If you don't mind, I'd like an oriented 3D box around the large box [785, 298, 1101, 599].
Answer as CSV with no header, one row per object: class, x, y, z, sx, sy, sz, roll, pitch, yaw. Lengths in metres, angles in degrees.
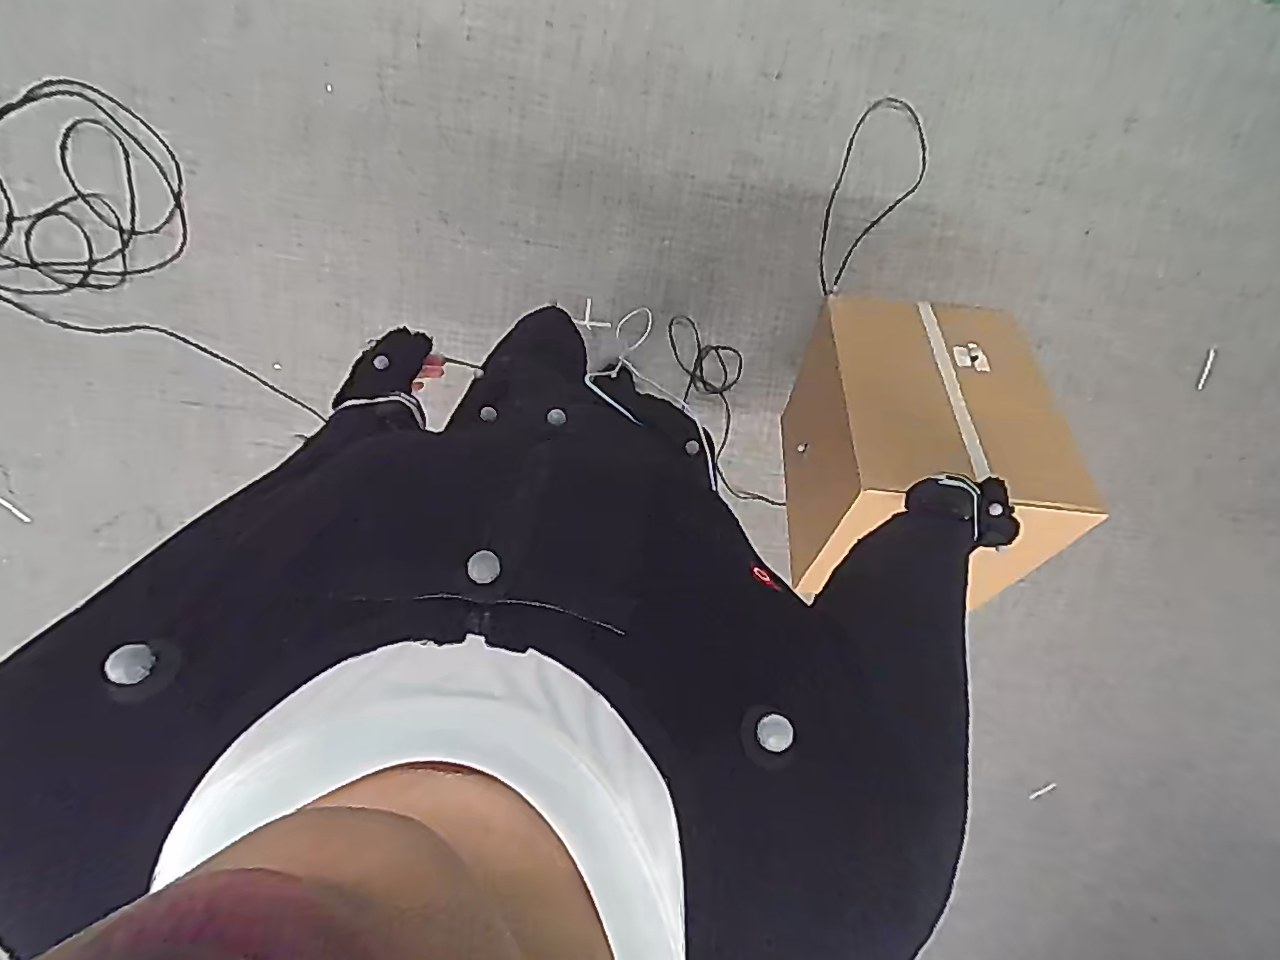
large box,0.447,-0.049,0.923,0.320,0.408,0.320,7,144,1
